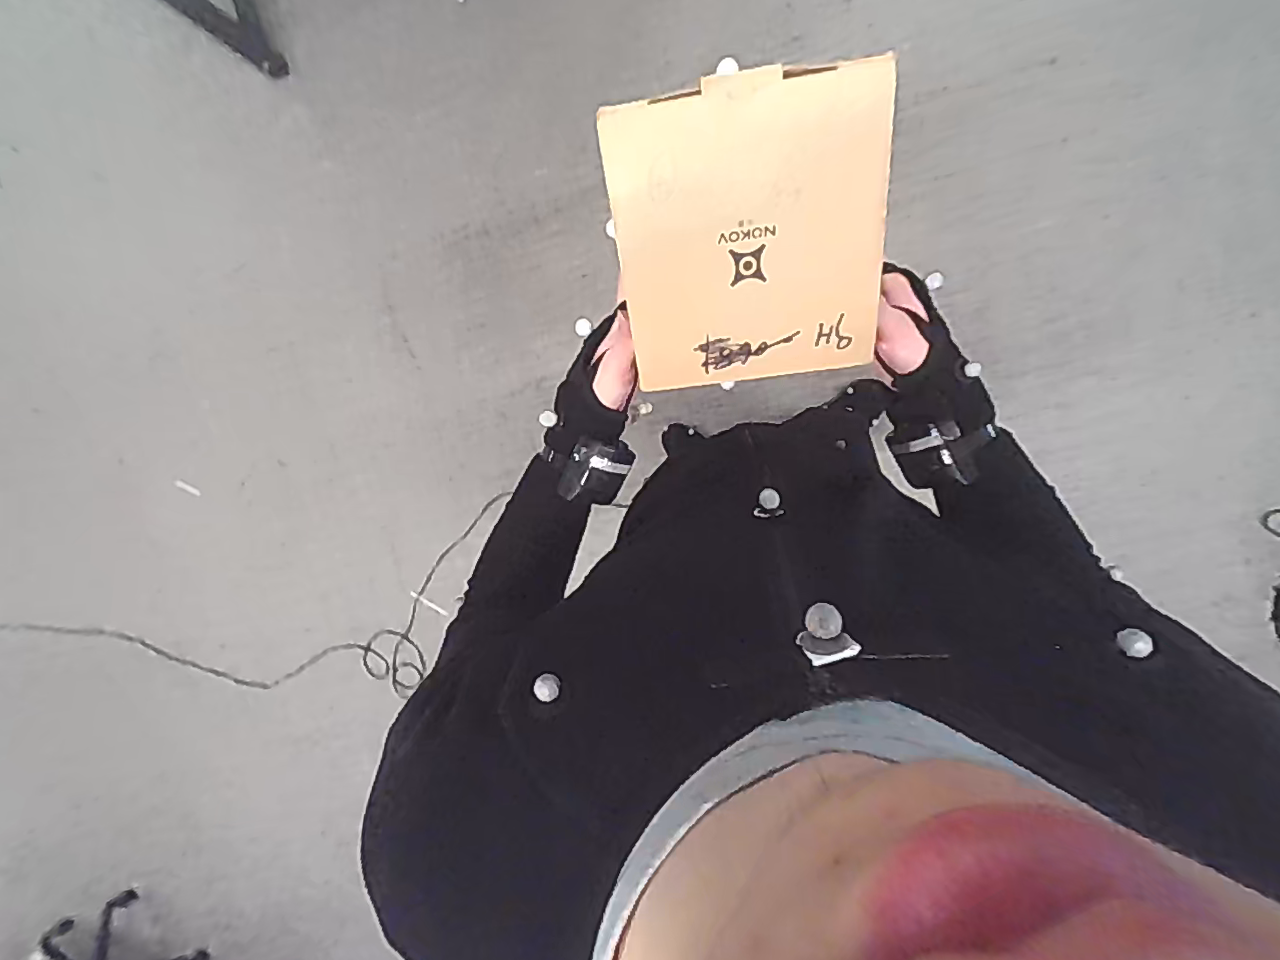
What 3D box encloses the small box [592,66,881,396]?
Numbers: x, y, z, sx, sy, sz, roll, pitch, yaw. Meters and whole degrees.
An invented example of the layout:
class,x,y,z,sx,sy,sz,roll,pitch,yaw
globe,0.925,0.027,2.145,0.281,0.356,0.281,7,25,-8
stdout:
class,x,y,z,sx,sy,sz,roll,pitch,yaw
small box,0.067,-0.183,0.411,0.168,0.176,0.179,-5,122,8
